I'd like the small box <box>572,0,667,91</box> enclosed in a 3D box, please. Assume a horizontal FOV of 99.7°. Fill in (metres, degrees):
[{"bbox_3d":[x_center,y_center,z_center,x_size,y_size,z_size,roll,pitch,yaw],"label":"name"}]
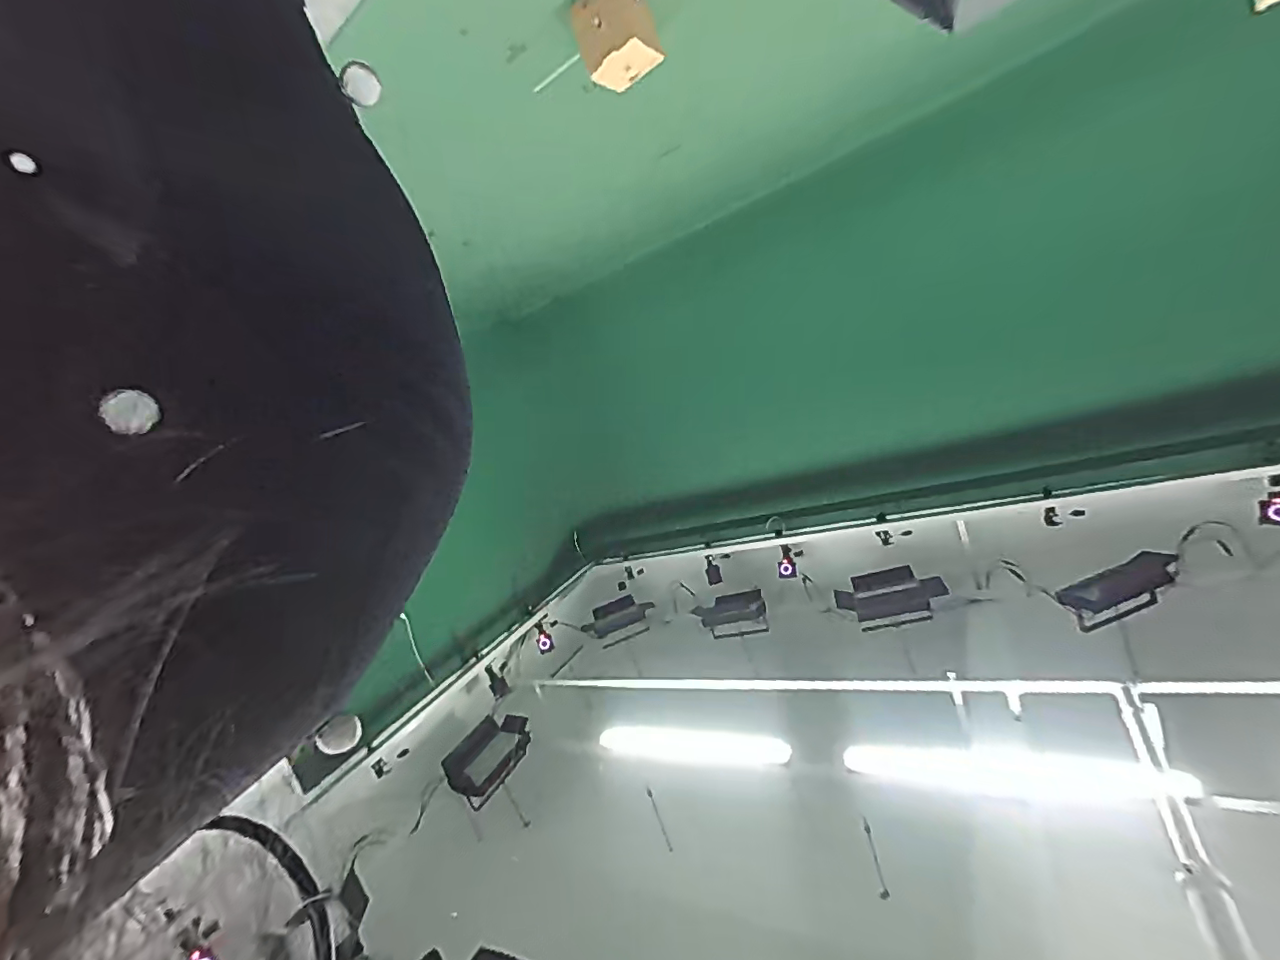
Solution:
[{"bbox_3d":[-0.057,-1.218,1.472,0.168,0.176,0.179,-13,-169,34],"label":"small box"}]
